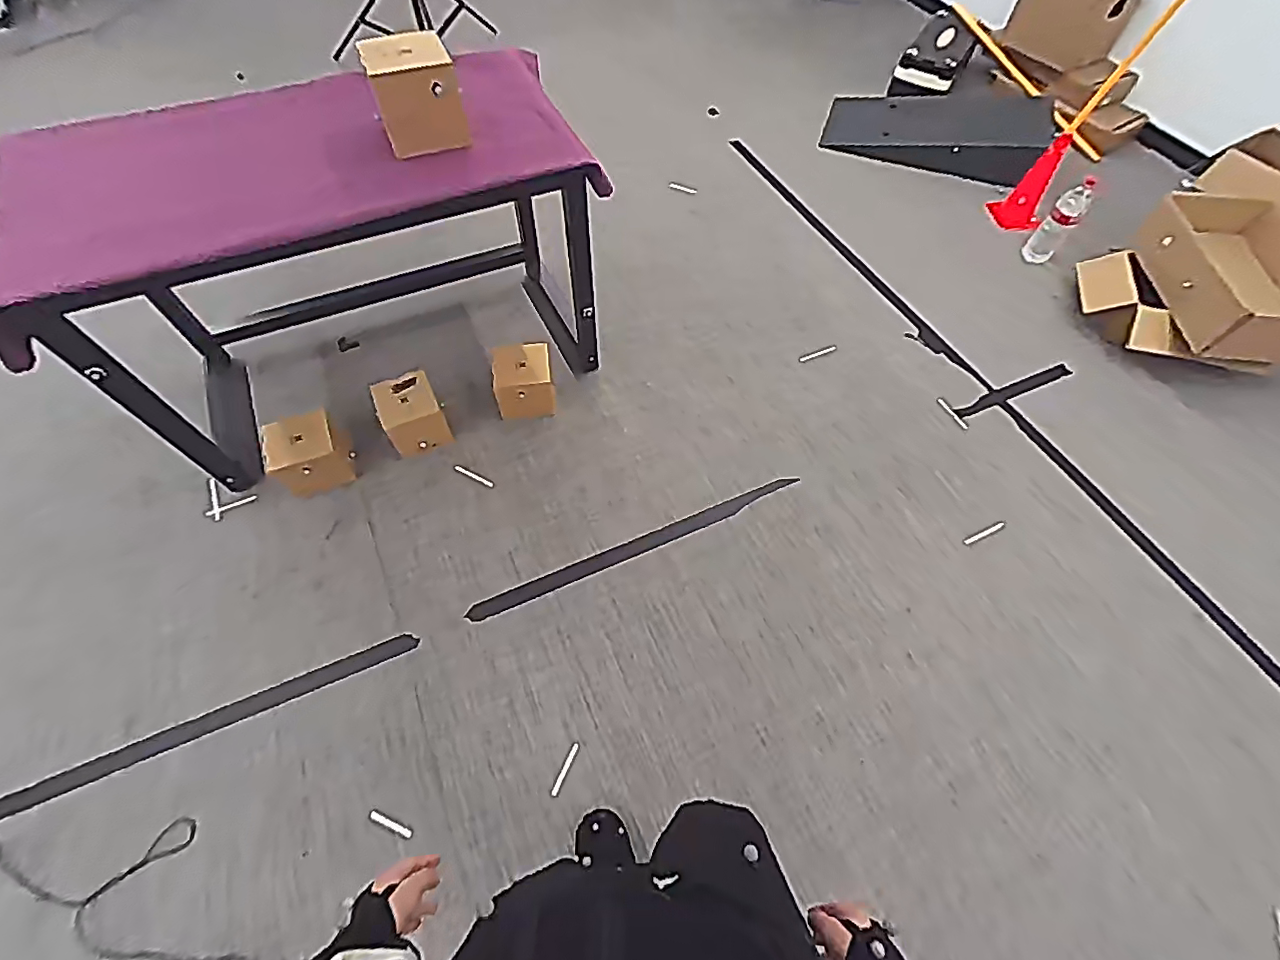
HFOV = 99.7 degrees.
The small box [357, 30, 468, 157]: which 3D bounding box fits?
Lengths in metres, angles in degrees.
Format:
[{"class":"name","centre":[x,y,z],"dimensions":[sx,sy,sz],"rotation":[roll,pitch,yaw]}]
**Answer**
[{"class":"small box","centre":[-0.500,-0.861,1.212],"dimensions":[0.179,0.176,0.168],"rotation":[-21,62,-12]}]

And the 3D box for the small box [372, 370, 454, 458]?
[{"class":"small box","centre":[-0.696,-0.201,1.668],"dimensions":[0.168,0.176,0.179],"rotation":[-23,64,-14]}]

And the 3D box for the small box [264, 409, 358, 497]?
[{"class":"small box","centre":[-0.963,-0.074,1.590],"dimensions":[0.179,0.176,0.168],"rotation":[-19,63,-13]}]

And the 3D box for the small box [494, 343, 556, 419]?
[{"class":"small box","centre":[-0.367,-0.317,1.746],"dimensions":[0.179,0.176,0.168],"rotation":[-7,61,-4]}]
